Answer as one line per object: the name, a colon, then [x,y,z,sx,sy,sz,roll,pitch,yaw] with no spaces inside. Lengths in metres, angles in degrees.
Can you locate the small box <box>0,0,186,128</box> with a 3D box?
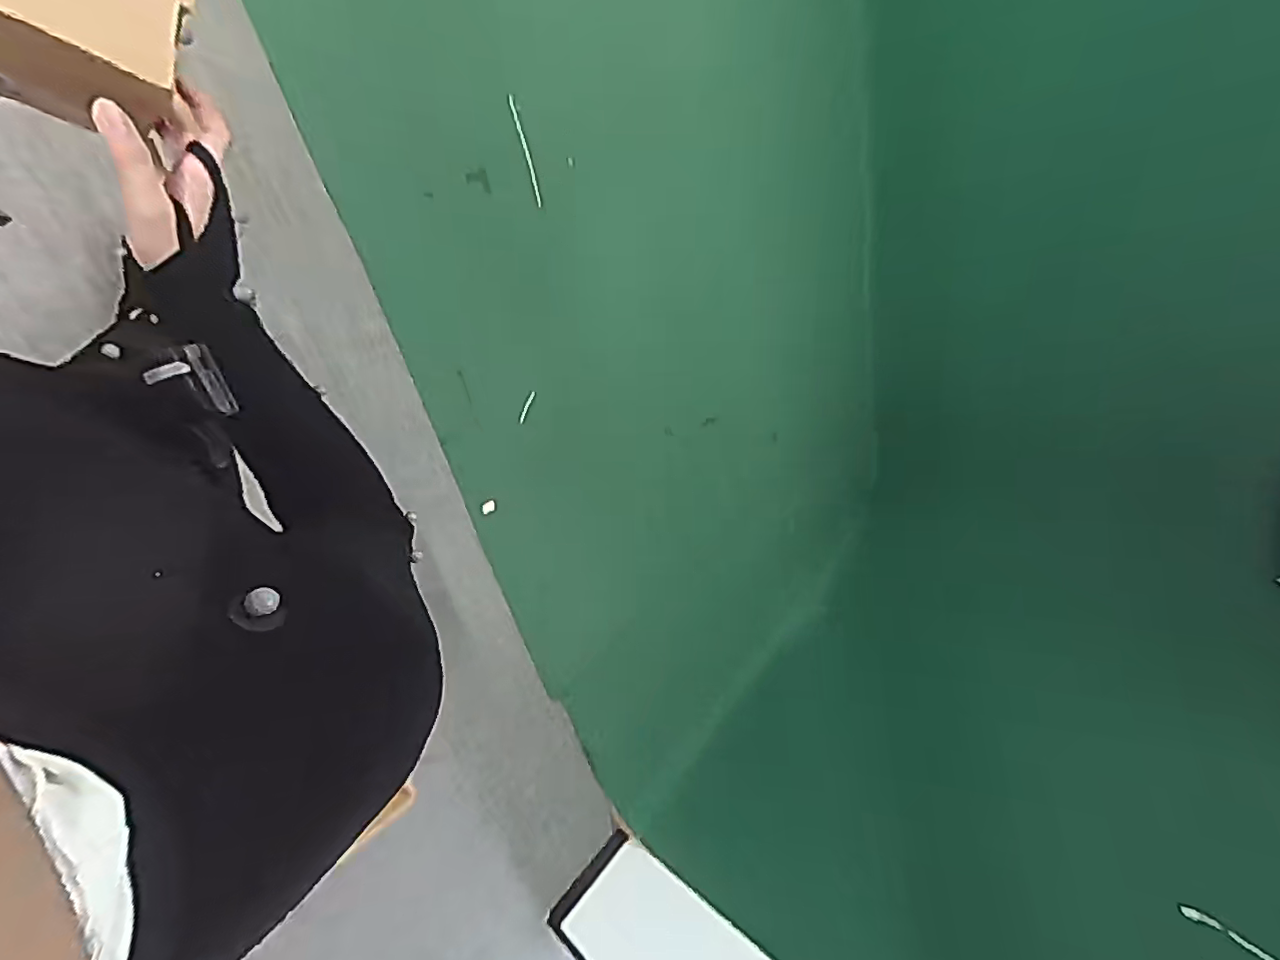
small box: [-0.426,-0.367,0.355,0.179,0.176,0.168,7,93,-51]
